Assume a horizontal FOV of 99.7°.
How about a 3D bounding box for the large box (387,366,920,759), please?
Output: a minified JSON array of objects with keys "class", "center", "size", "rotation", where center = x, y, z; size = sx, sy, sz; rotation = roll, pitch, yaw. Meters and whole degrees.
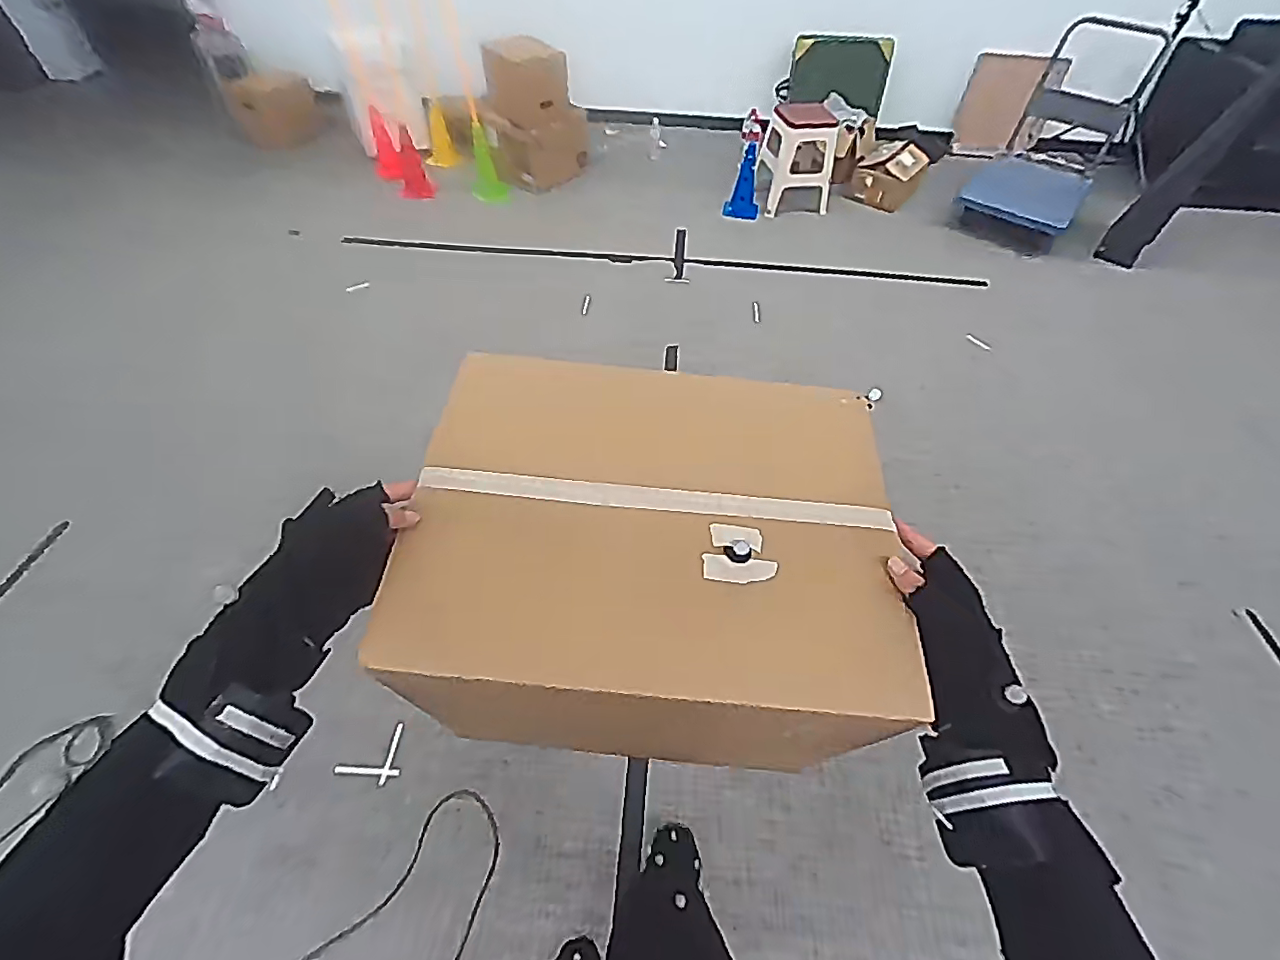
[{"class":"large box","center":[0.010,0.106,0.600],"size":[0.408,0.320,0.320],"rotation":[6,56,-1]}]
